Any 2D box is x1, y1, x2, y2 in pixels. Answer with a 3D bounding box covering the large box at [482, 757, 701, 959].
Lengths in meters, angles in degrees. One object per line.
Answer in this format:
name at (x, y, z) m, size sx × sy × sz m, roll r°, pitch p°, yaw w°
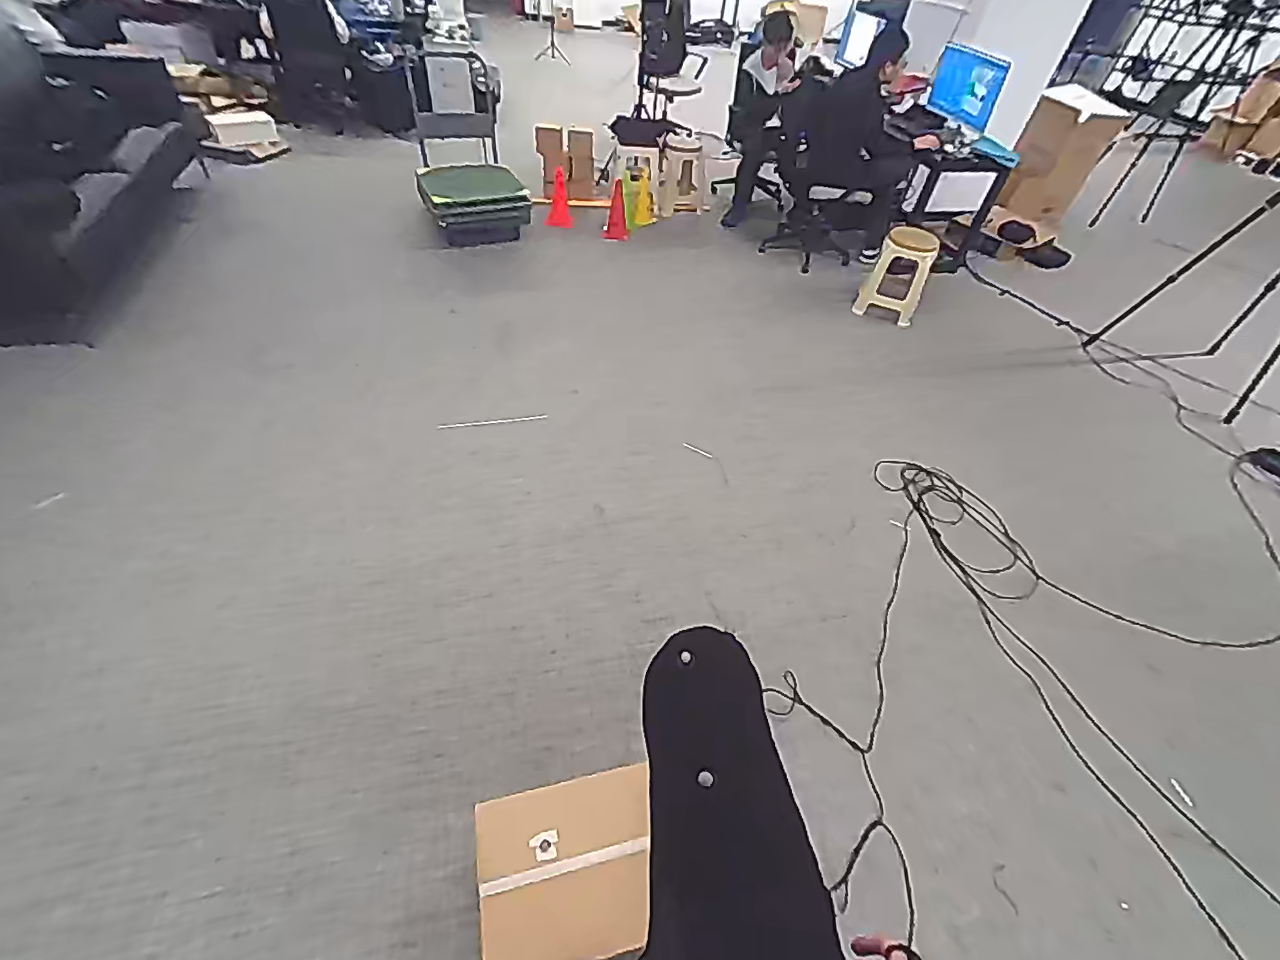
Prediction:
large box at (-0.117, 0.882, 1.217) m, size 0.408 × 0.320 × 0.320 m, roll -9°, pitch 48°, yaw -13°
